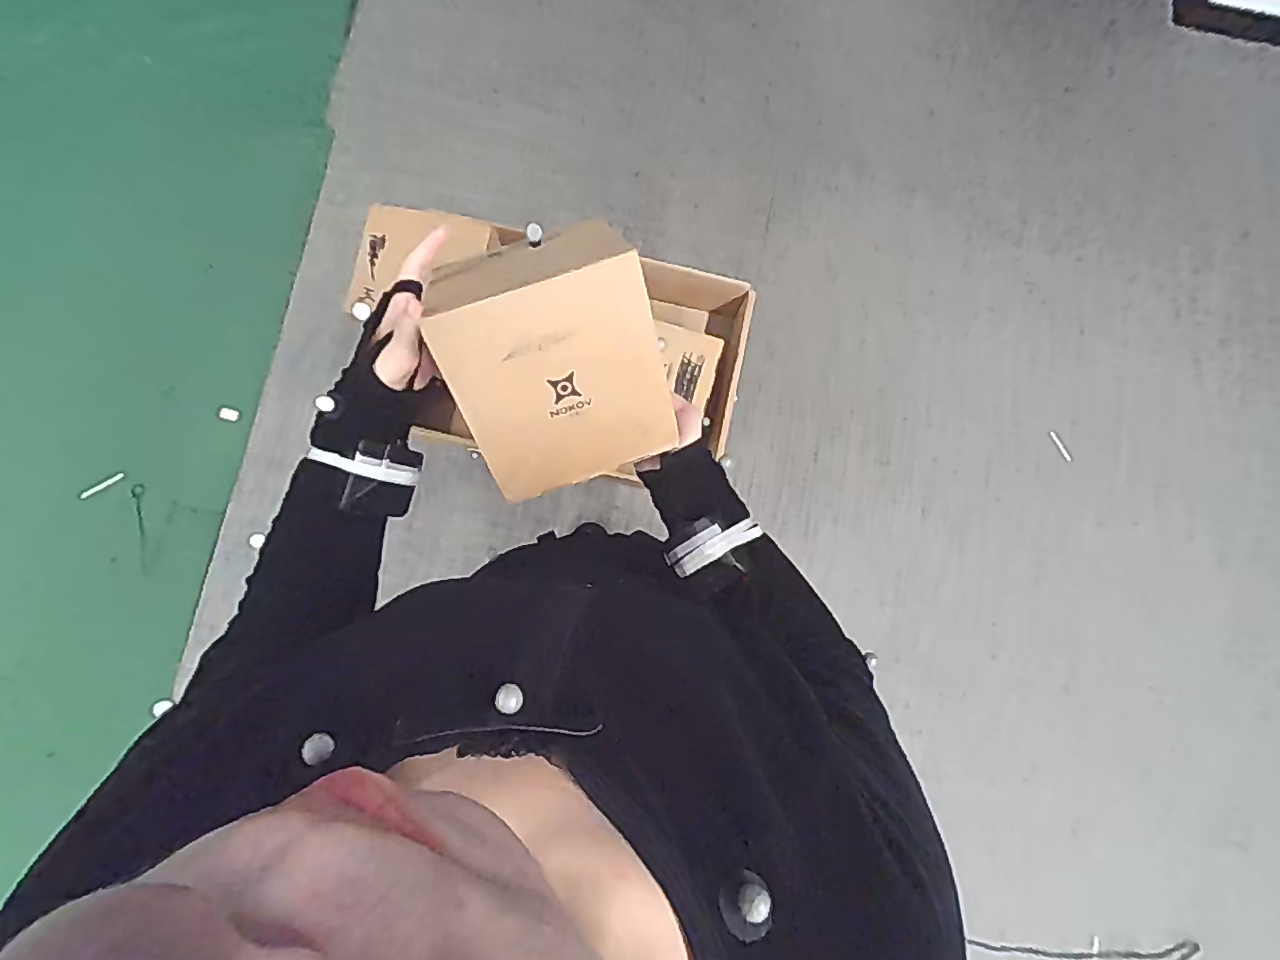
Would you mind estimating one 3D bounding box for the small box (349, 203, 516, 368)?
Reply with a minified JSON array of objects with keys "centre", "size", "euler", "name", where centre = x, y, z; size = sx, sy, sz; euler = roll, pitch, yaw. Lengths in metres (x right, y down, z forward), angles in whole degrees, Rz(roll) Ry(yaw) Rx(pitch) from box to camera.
[{"centre":[-0.301,-0.284,0.830],"size":[0.179,0.176,0.168],"euler":[12,83,-1],"name":"small box"}]
